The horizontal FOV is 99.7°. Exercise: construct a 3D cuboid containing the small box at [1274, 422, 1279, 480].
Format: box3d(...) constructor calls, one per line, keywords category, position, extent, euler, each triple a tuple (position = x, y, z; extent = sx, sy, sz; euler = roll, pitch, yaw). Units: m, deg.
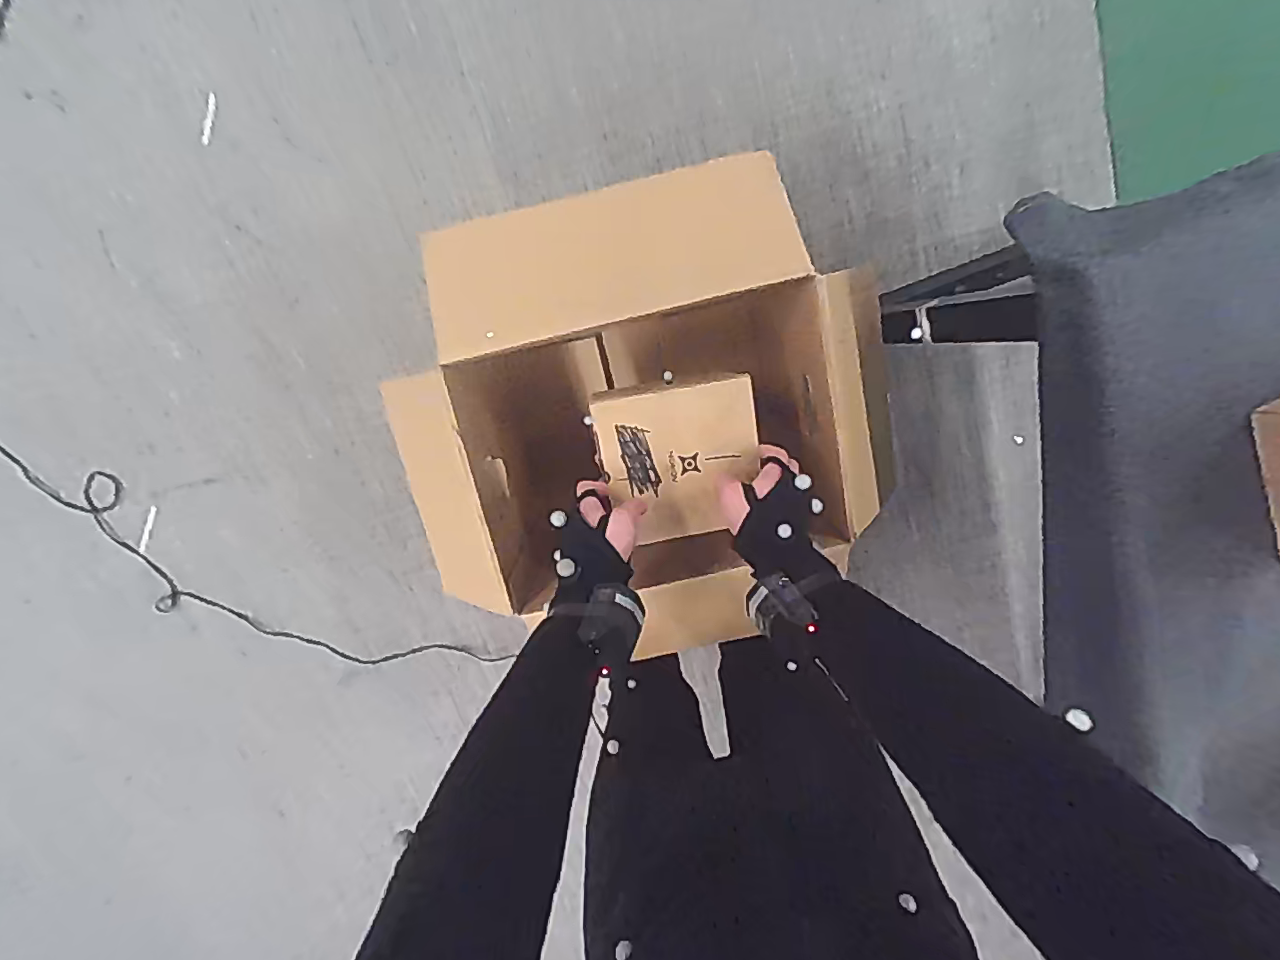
box3d(category="small box", position=(0.649, -0.008, 0.405), extent=(0.179, 0.176, 0.168), euler=(-28, 104, 3))
